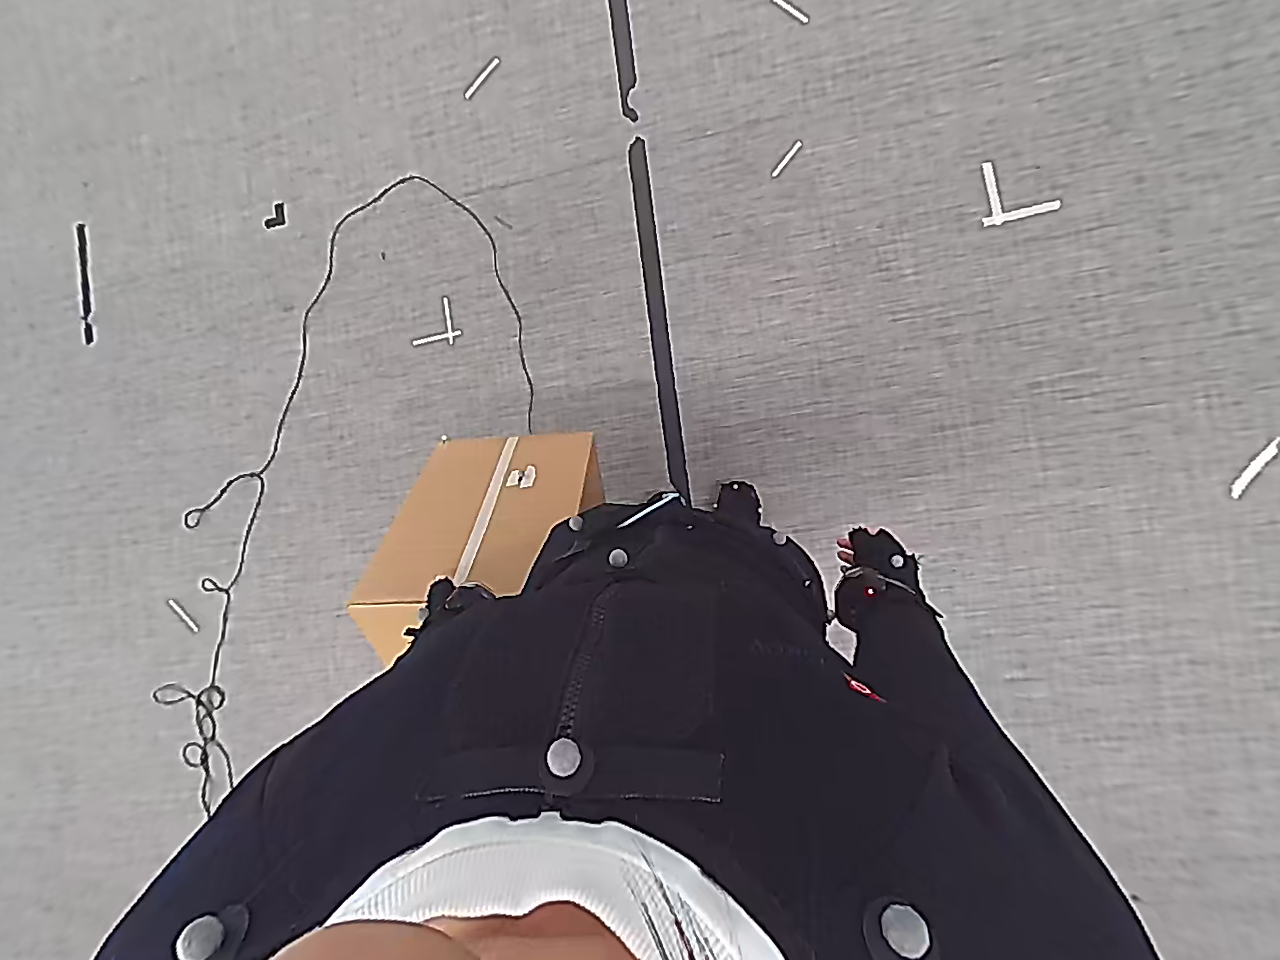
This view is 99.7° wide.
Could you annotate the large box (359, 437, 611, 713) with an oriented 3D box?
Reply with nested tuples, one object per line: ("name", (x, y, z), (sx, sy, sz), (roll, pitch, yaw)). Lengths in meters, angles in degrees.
("large box", (-0.234, 0.164, 1.001), (0.320, 0.408, 0.320), (-2, 128, 4))
